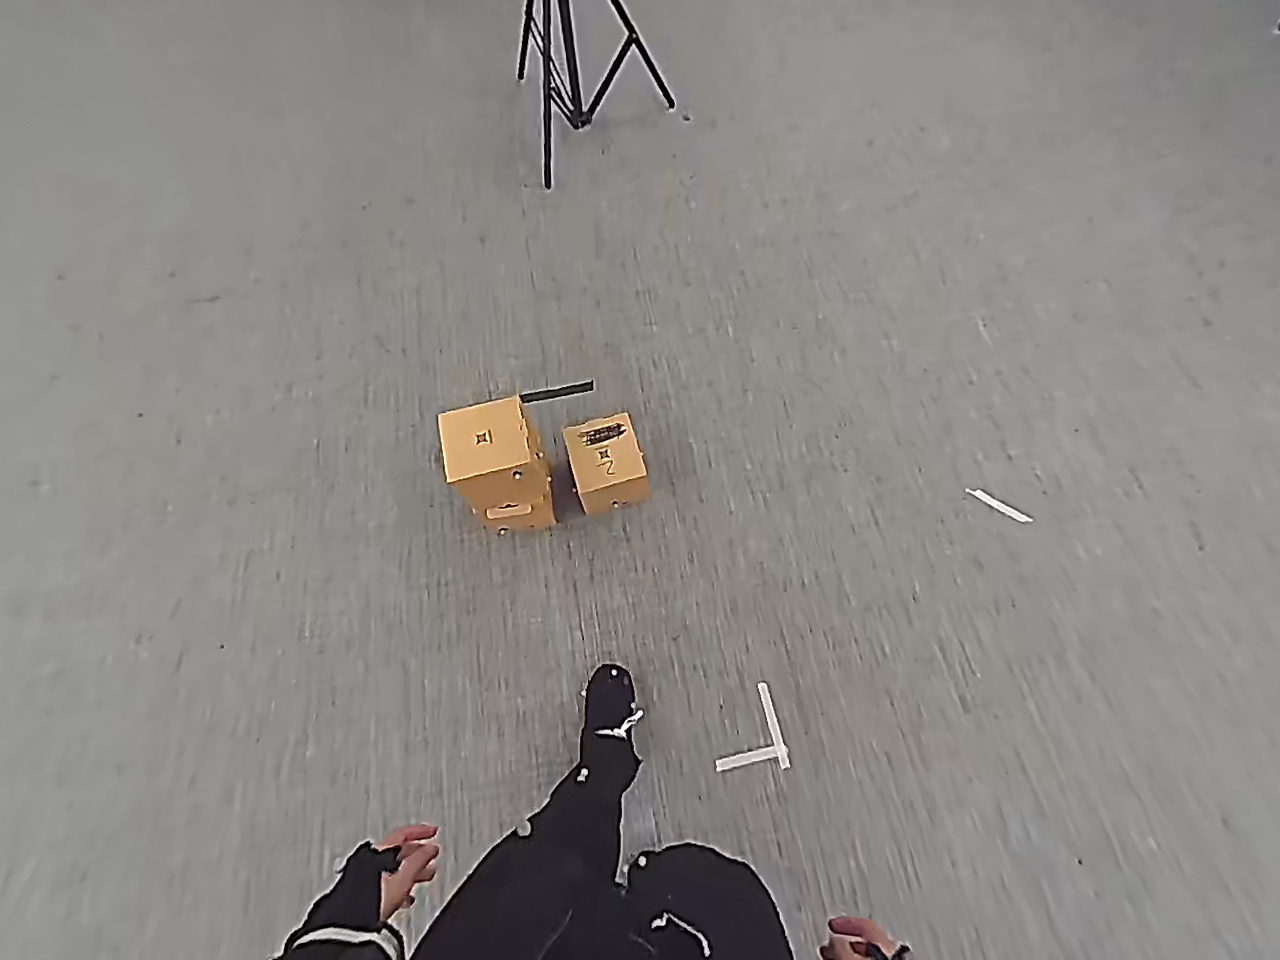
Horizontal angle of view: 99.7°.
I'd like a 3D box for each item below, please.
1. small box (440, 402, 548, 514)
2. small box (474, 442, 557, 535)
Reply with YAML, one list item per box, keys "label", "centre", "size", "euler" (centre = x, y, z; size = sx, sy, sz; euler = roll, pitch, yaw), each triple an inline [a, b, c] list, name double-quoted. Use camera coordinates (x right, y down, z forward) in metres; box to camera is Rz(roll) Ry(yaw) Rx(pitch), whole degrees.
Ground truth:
- label: "small box"
  centre: [-0.314, -0.042, 1.183]
  size: [0.179, 0.176, 0.168]
  euler: [-15, 67, -5]
- label: "small box"
  centre: [-0.303, 0.029, 1.329]
  size: [0.168, 0.176, 0.179]
  euler: [-9, 66, -1]
